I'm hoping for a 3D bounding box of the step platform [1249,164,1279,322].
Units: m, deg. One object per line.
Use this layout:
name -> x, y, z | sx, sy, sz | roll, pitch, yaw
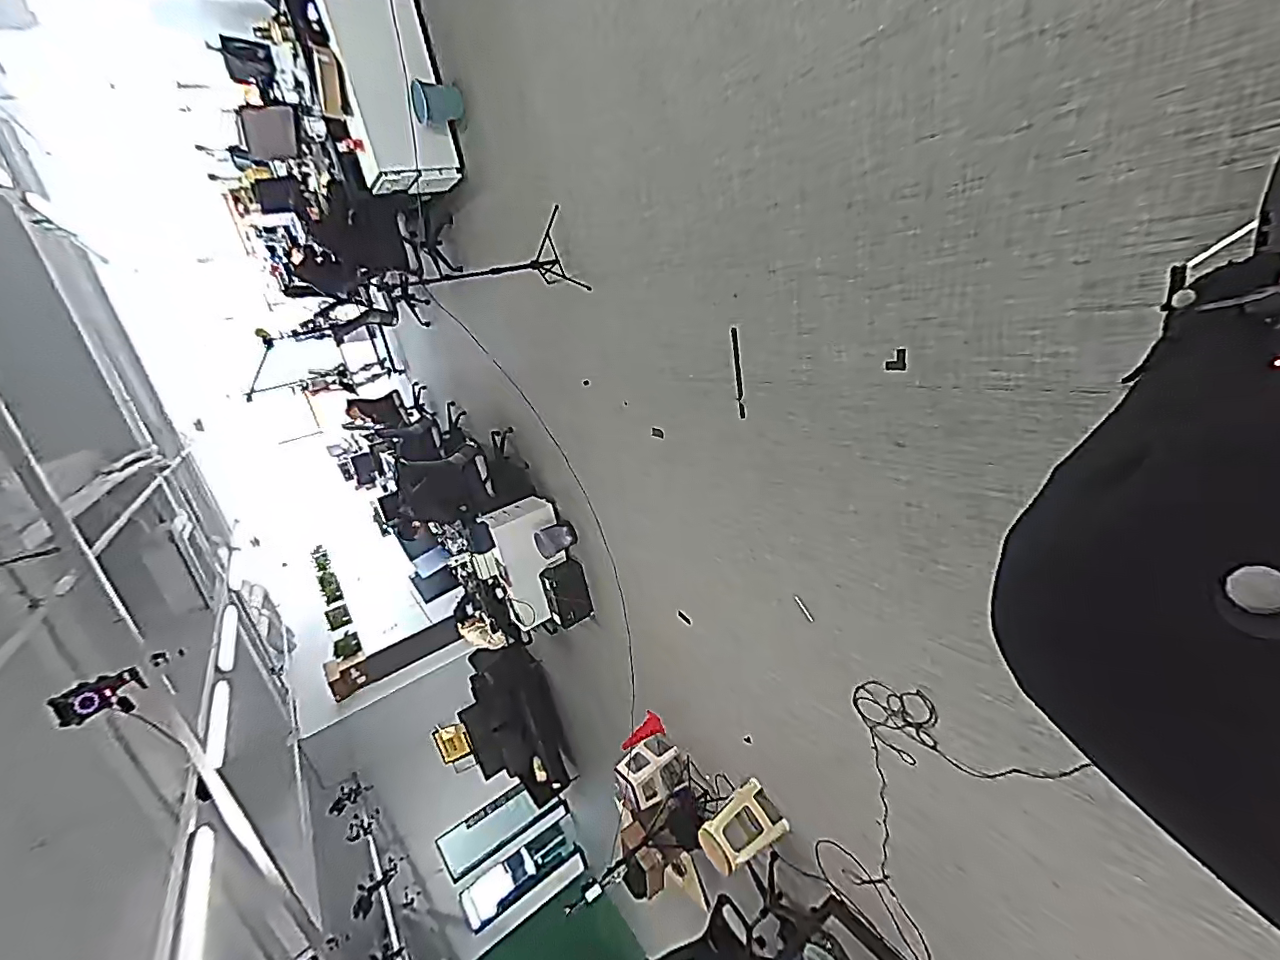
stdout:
step platform -> 1.340, -0.391, 0.733 | 0.684, 0.204, 0.286 | 15, 123, 53
